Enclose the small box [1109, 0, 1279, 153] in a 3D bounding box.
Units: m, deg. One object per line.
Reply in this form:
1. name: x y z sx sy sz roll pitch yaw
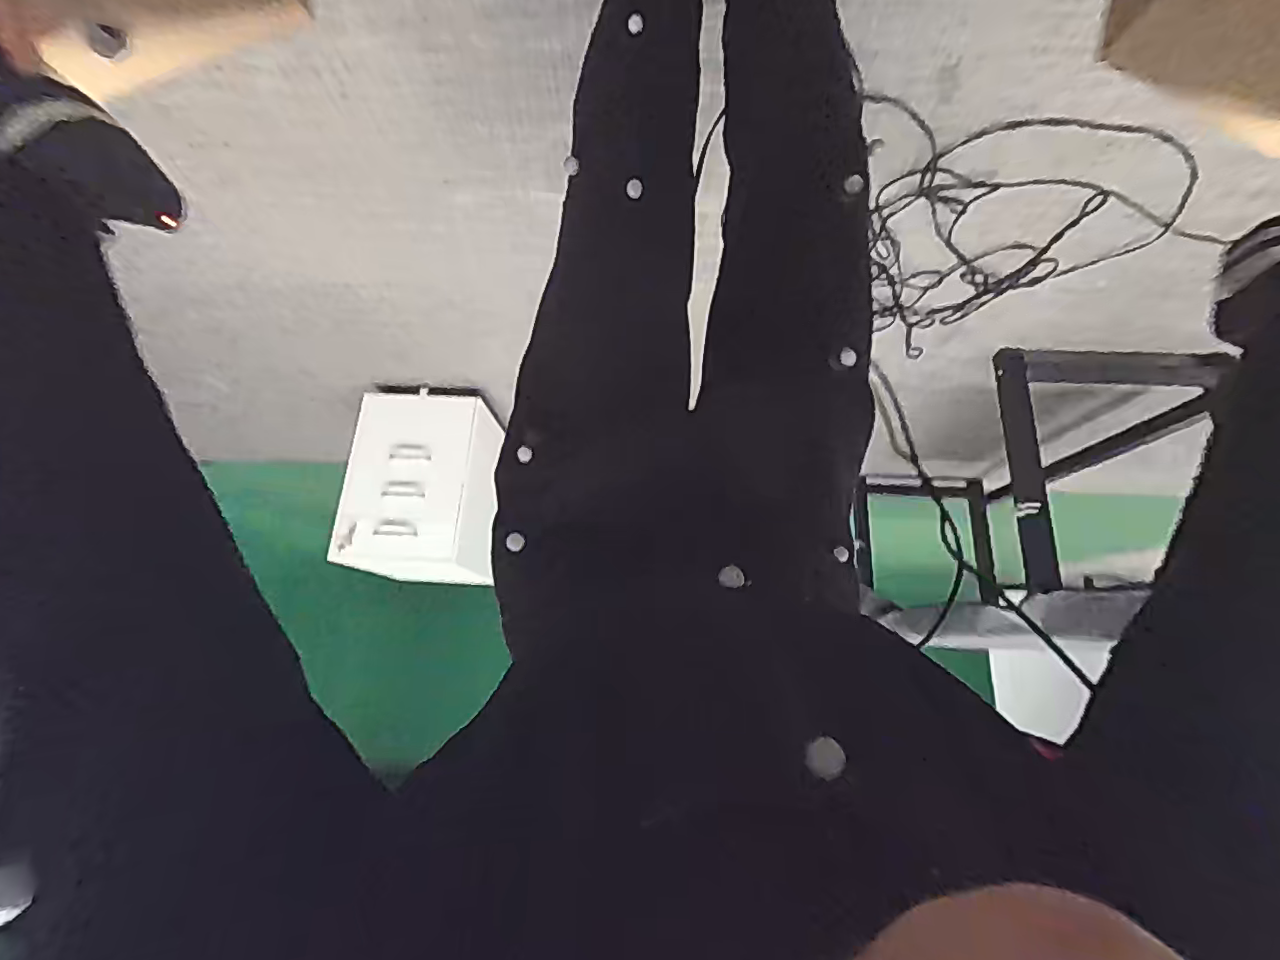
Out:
1. small box: 0.469 -0.382 0.366 0.176 0.179 0.168 25 160 -4
